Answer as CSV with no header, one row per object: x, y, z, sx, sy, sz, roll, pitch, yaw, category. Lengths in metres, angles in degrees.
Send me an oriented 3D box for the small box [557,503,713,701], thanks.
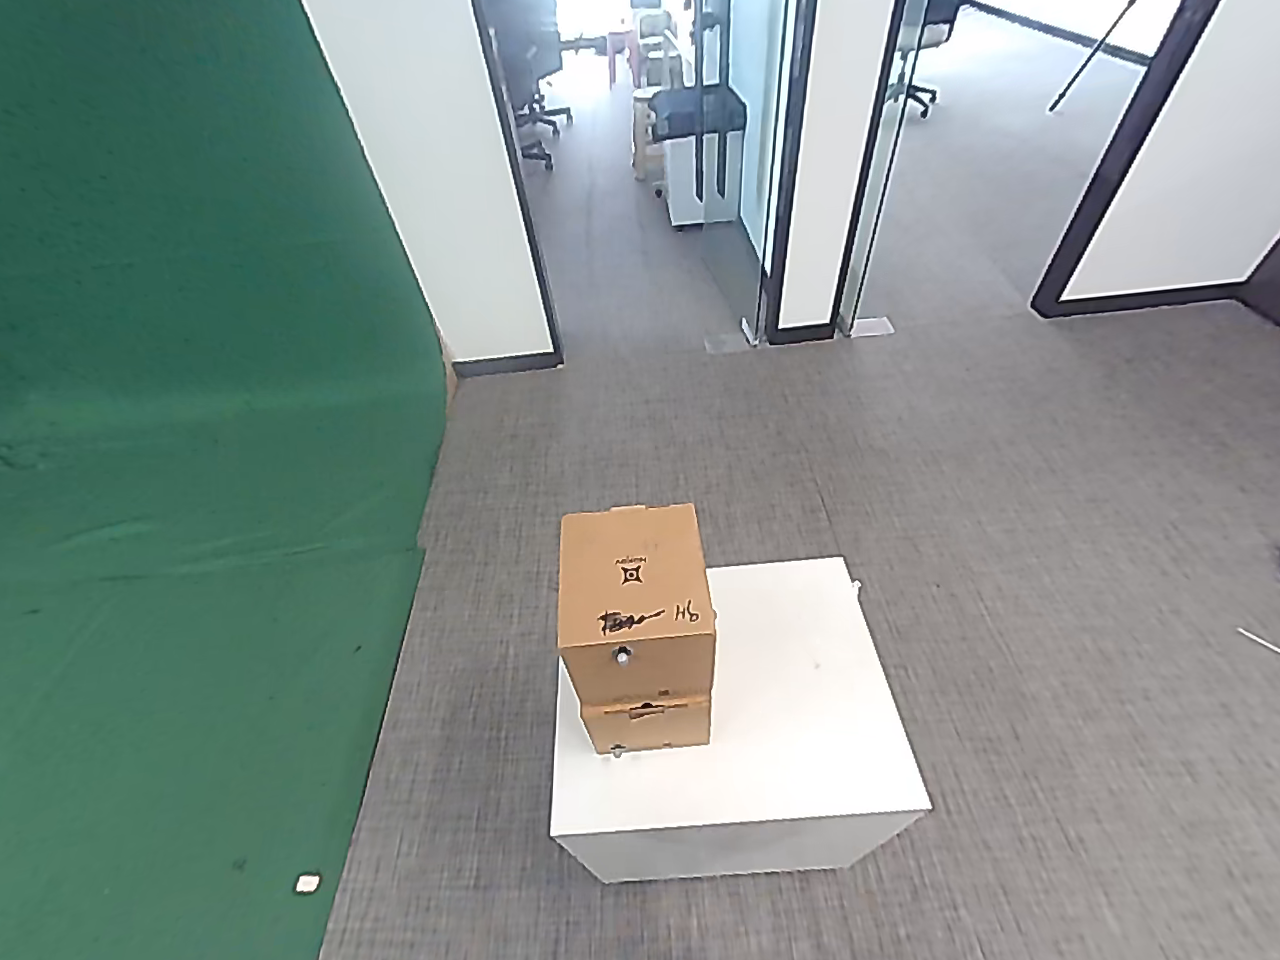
-0.004,0.153,0.675,0.168,0.176,0.179,-6,47,1,small box

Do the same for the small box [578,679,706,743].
0.006,0.269,0.788,0.168,0.176,0.179,-5,47,1,small box
